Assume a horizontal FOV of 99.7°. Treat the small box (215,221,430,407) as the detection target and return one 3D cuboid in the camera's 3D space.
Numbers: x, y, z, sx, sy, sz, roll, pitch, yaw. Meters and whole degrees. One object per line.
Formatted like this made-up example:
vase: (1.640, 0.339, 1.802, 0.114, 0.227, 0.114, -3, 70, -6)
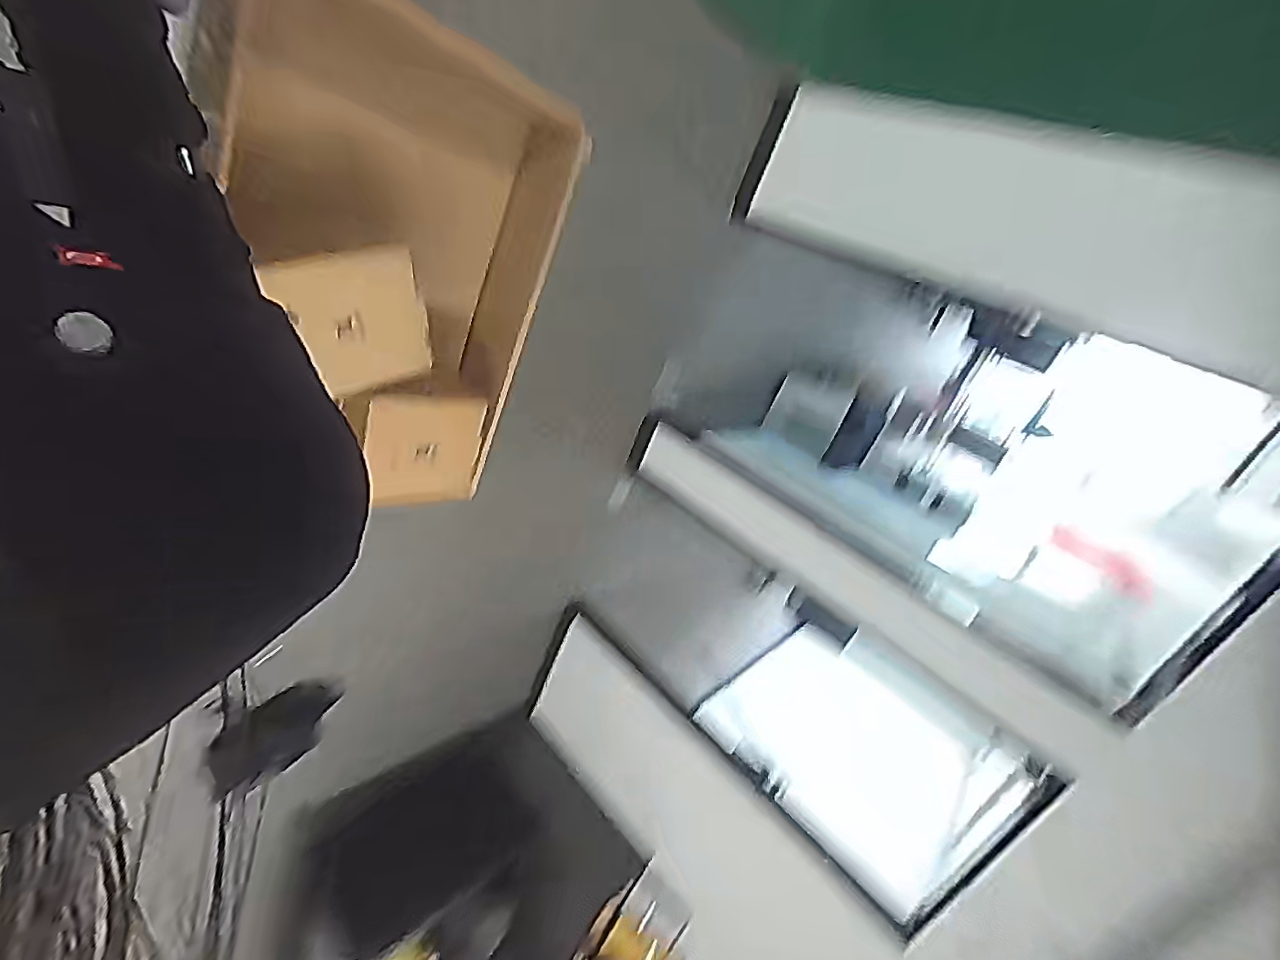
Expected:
small box: (-0.403, -0.224, 0.700, 0.179, 0.176, 0.168, -26, 137, -32)
